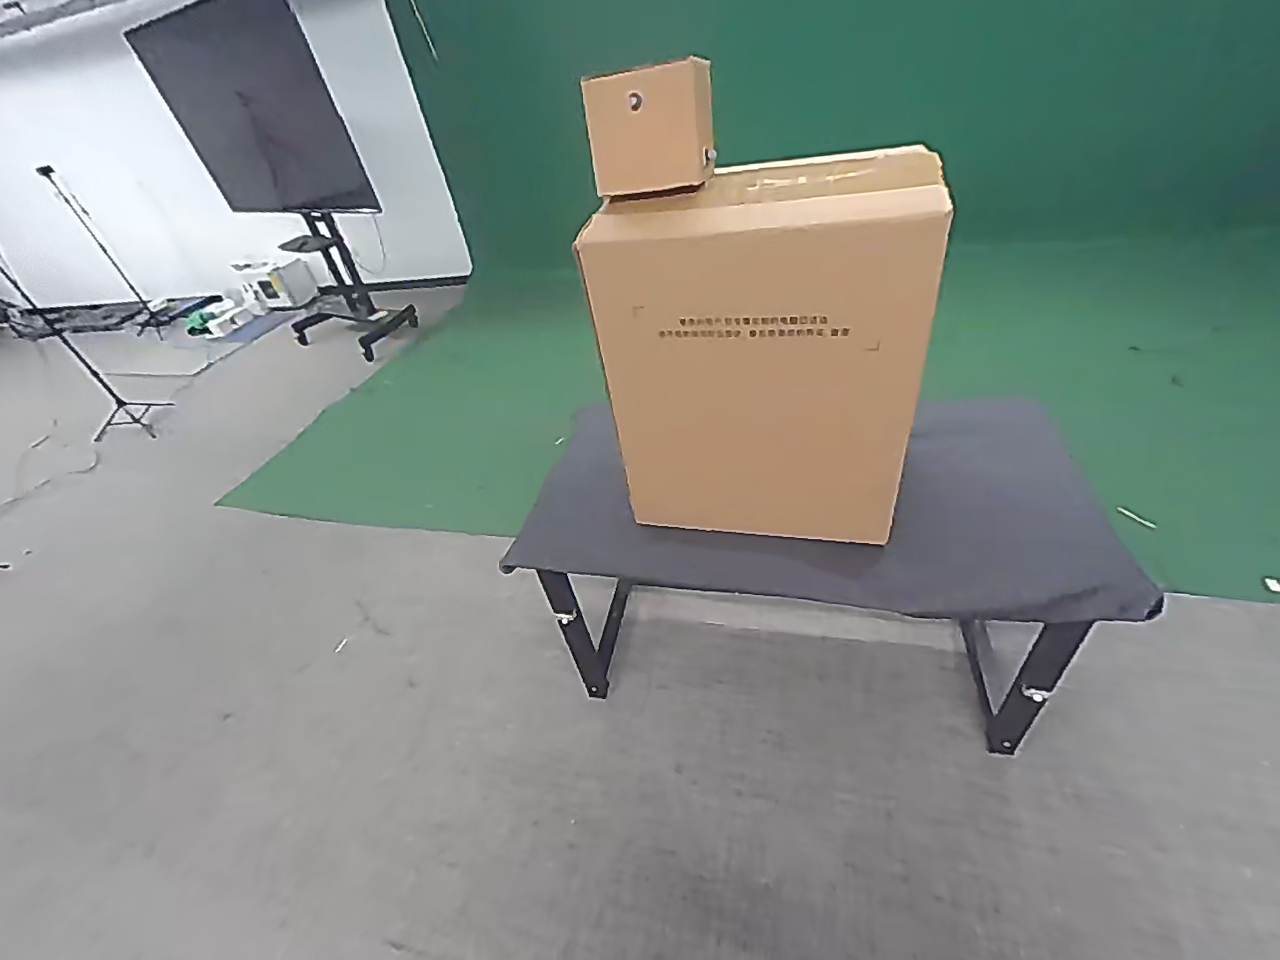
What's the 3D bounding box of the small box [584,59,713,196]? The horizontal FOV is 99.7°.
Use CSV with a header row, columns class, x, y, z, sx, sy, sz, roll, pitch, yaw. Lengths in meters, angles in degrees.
class,x,y,z,sx,sy,sz,roll,pitch,yaw
small box,0.024,-0.581,0.904,0.179,0.176,0.168,4,35,14
